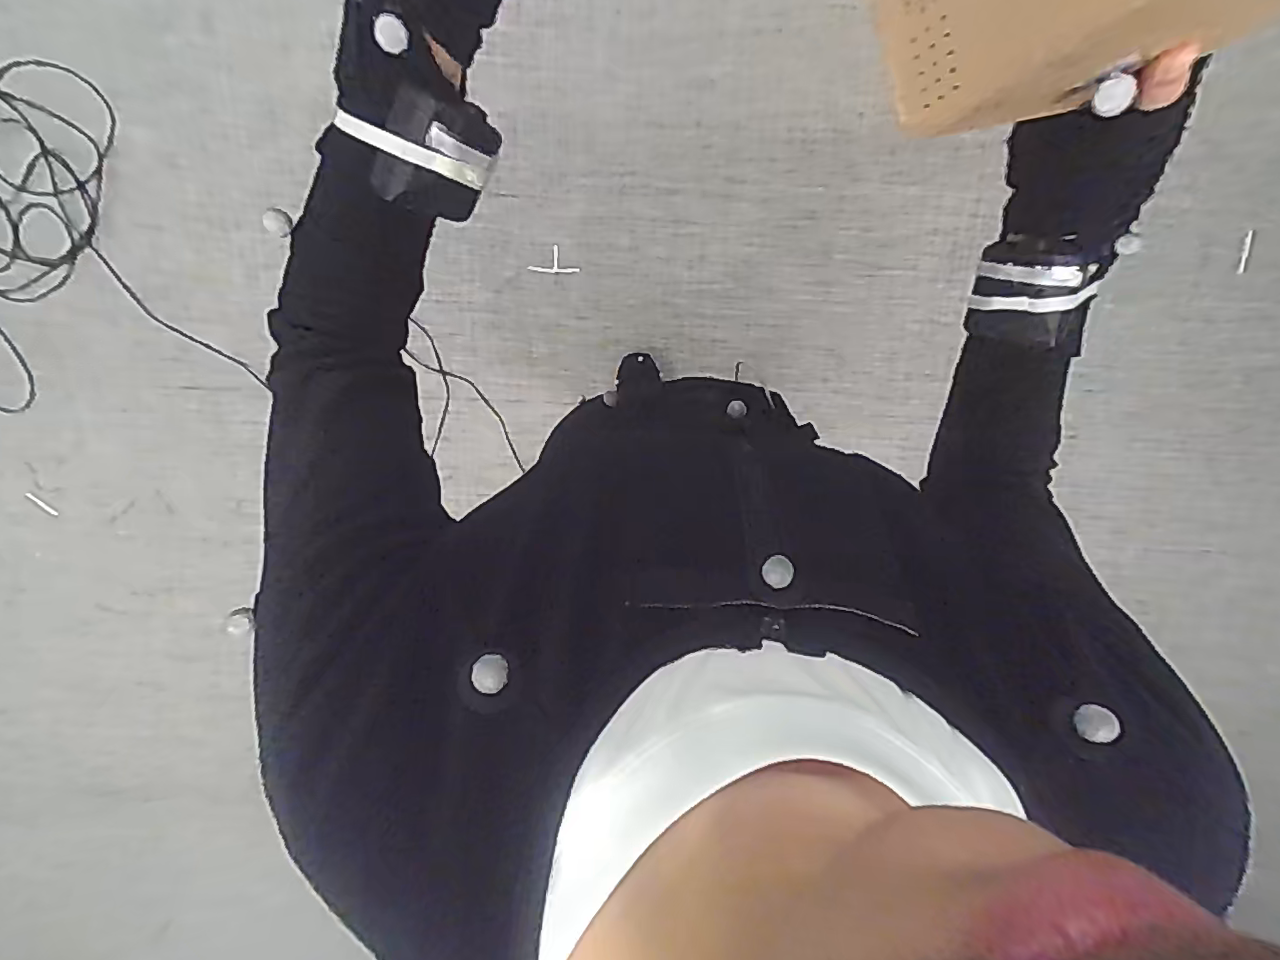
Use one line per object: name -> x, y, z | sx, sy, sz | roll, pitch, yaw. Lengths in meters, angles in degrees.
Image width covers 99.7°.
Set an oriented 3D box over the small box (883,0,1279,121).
small box -> 0.200, -0.254, 0.180 | 0.179, 0.176, 0.168 | -24, 103, -23
